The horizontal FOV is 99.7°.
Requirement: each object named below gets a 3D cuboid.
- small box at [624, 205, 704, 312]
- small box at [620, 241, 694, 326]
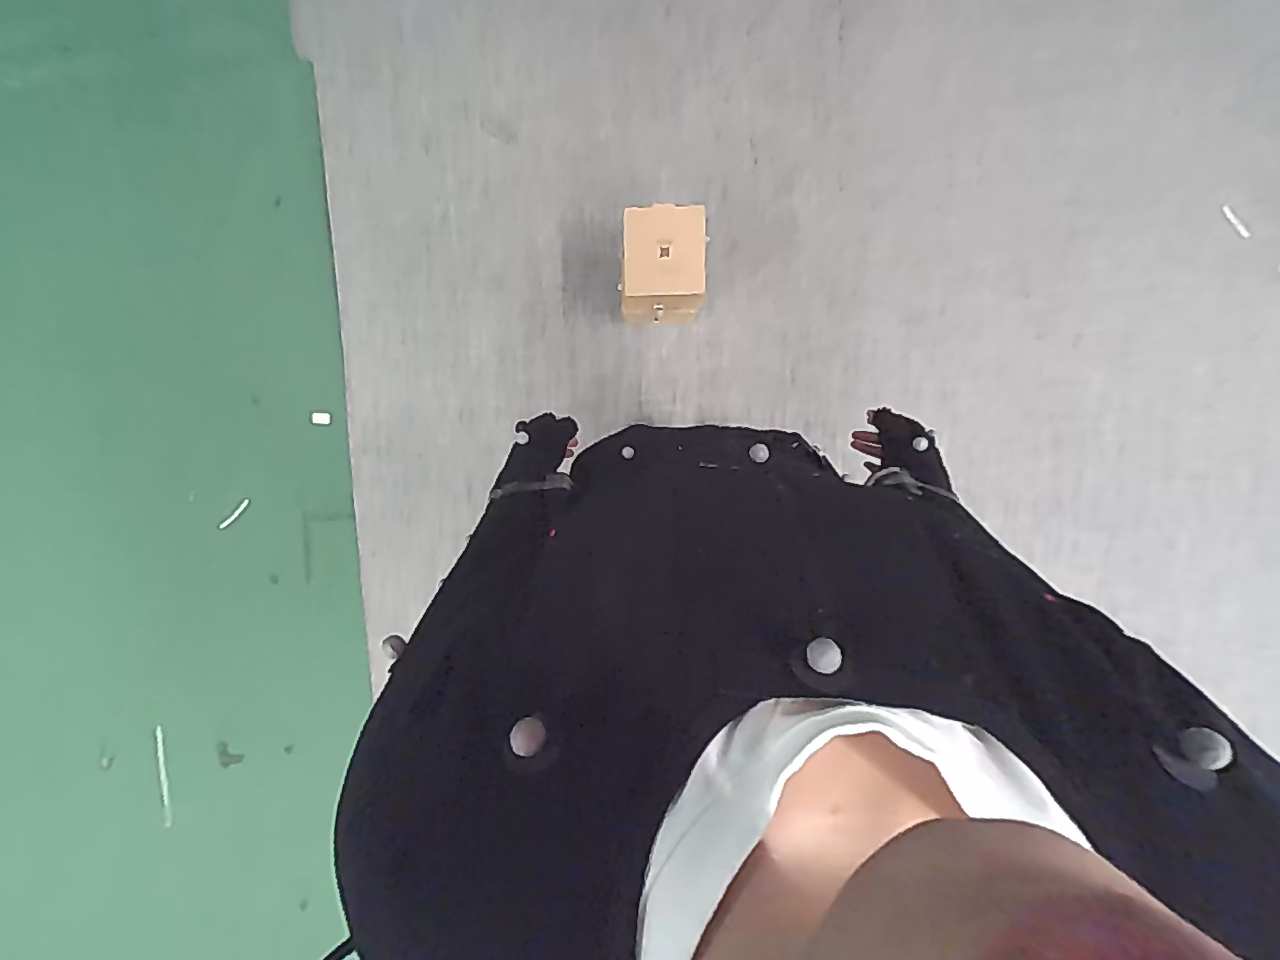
[{"bbox_3d":[0.052,-0.474,1.176,0.168,0.176,0.179,-1,96,4],"label":"small box"},{"bbox_3d":[0.043,-0.481,1.337,0.179,0.176,0.168,0,96,3],"label":"small box"}]
